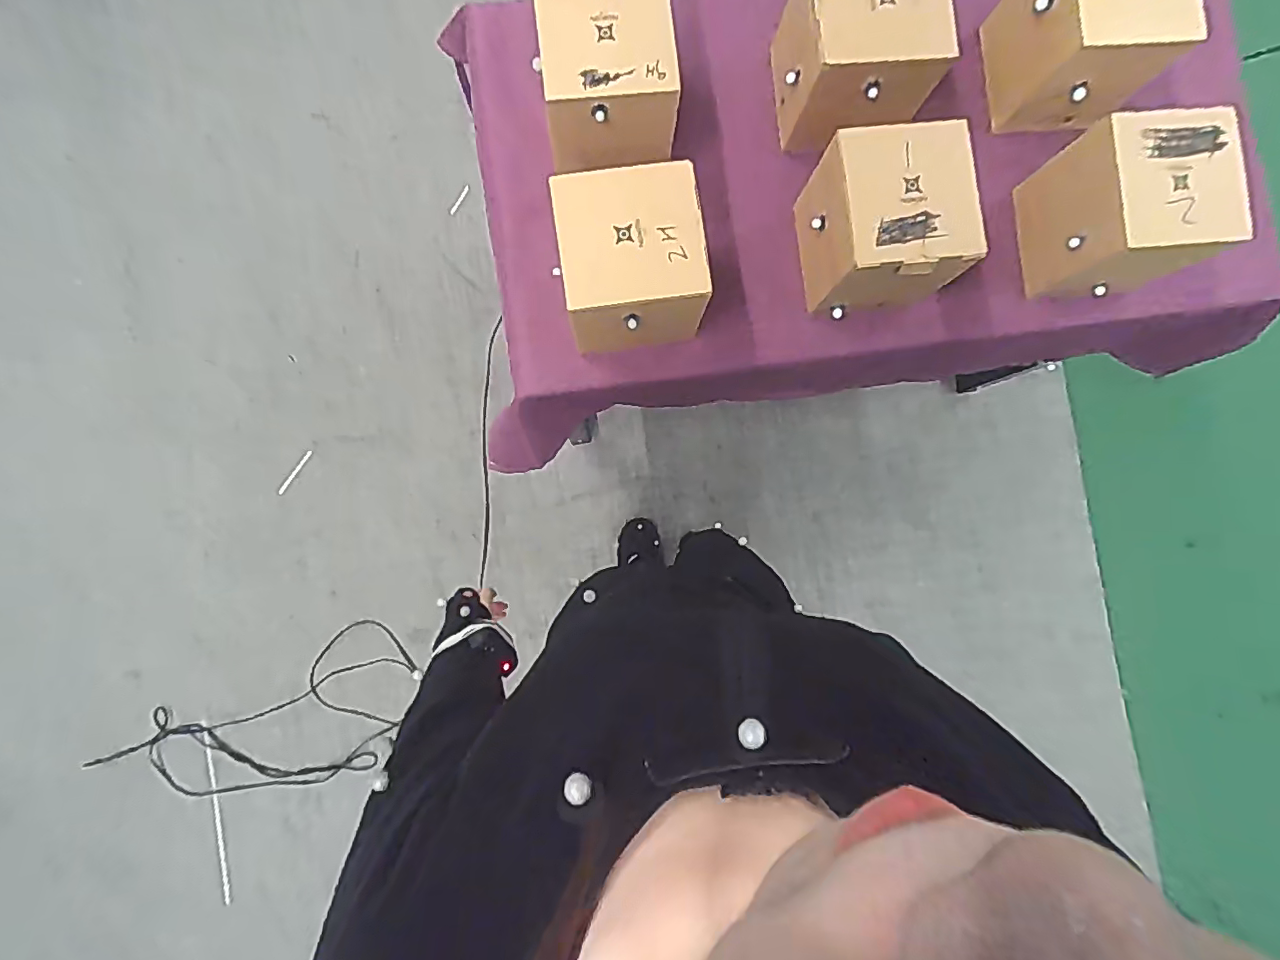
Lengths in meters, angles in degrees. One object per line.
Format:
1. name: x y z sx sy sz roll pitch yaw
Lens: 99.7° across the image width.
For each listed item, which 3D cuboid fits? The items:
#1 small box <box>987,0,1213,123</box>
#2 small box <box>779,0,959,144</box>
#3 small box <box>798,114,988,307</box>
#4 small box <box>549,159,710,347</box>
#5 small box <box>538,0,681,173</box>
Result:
1. small box: 0.624 -0.632 0.756 0.168 0.176 0.179 -5 86 -2
2. small box: 0.298 -0.594 0.744 0.179 0.176 0.168 -5 88 -2
3. small box: 0.326 -0.347 0.730 0.168 0.176 0.179 -6 86 -2
4. small box: -0.014 -0.286 0.716 0.179 0.176 0.168 -8 87 -3
5. small box: -0.043 -0.542 0.730 0.168 0.176 0.179 -7 87 -2
